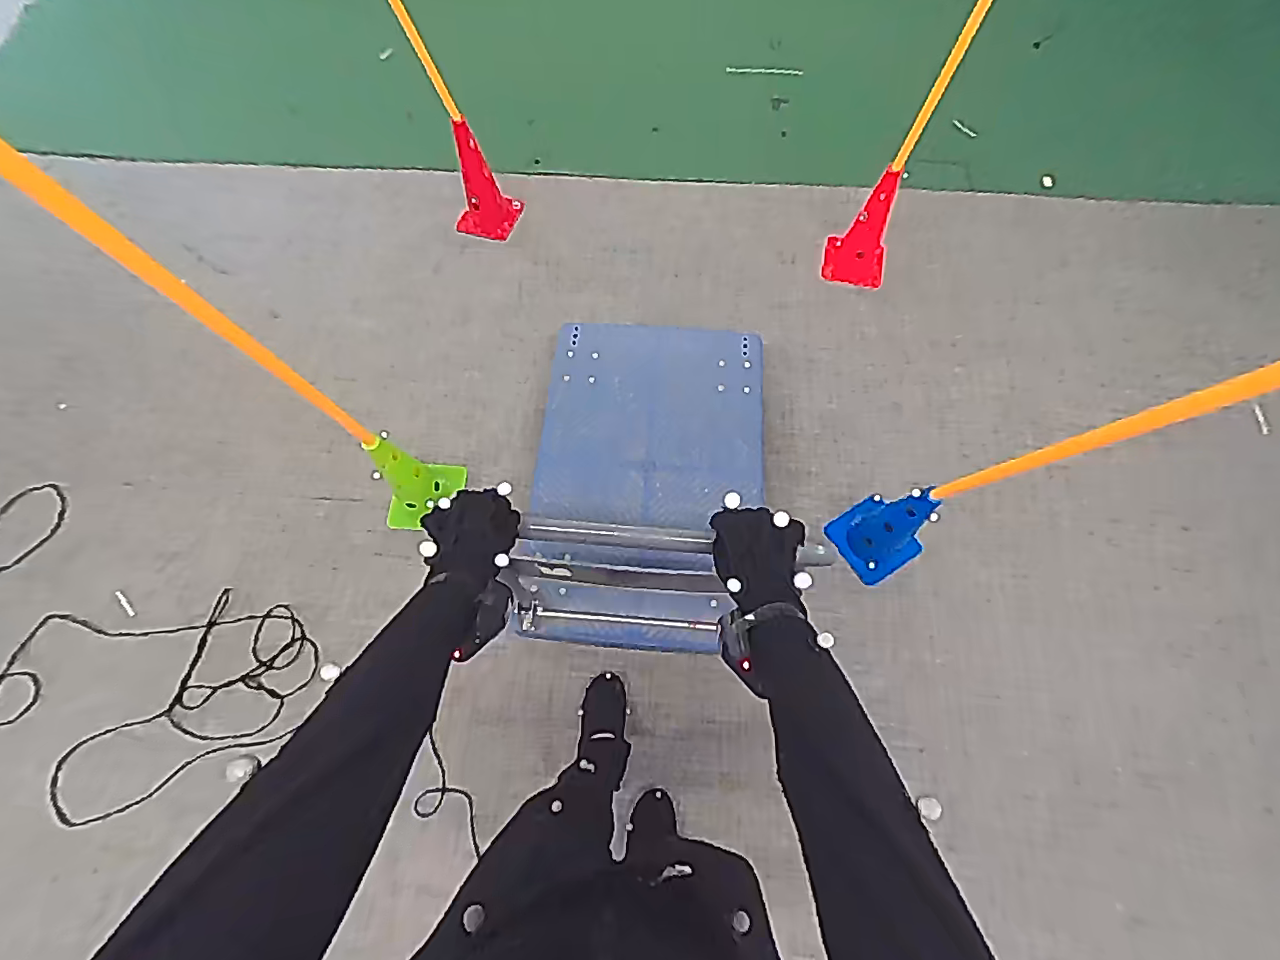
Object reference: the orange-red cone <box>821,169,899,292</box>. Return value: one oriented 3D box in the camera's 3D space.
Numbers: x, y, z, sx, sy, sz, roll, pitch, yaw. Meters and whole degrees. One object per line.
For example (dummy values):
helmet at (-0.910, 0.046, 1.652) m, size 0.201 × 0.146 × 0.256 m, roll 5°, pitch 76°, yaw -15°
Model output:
orange-red cone at (0.718, -0.793, 1.680) m, size 0.198 × 0.360 × 0.199 m, roll 14°, pitch 69°, yaw 8°
